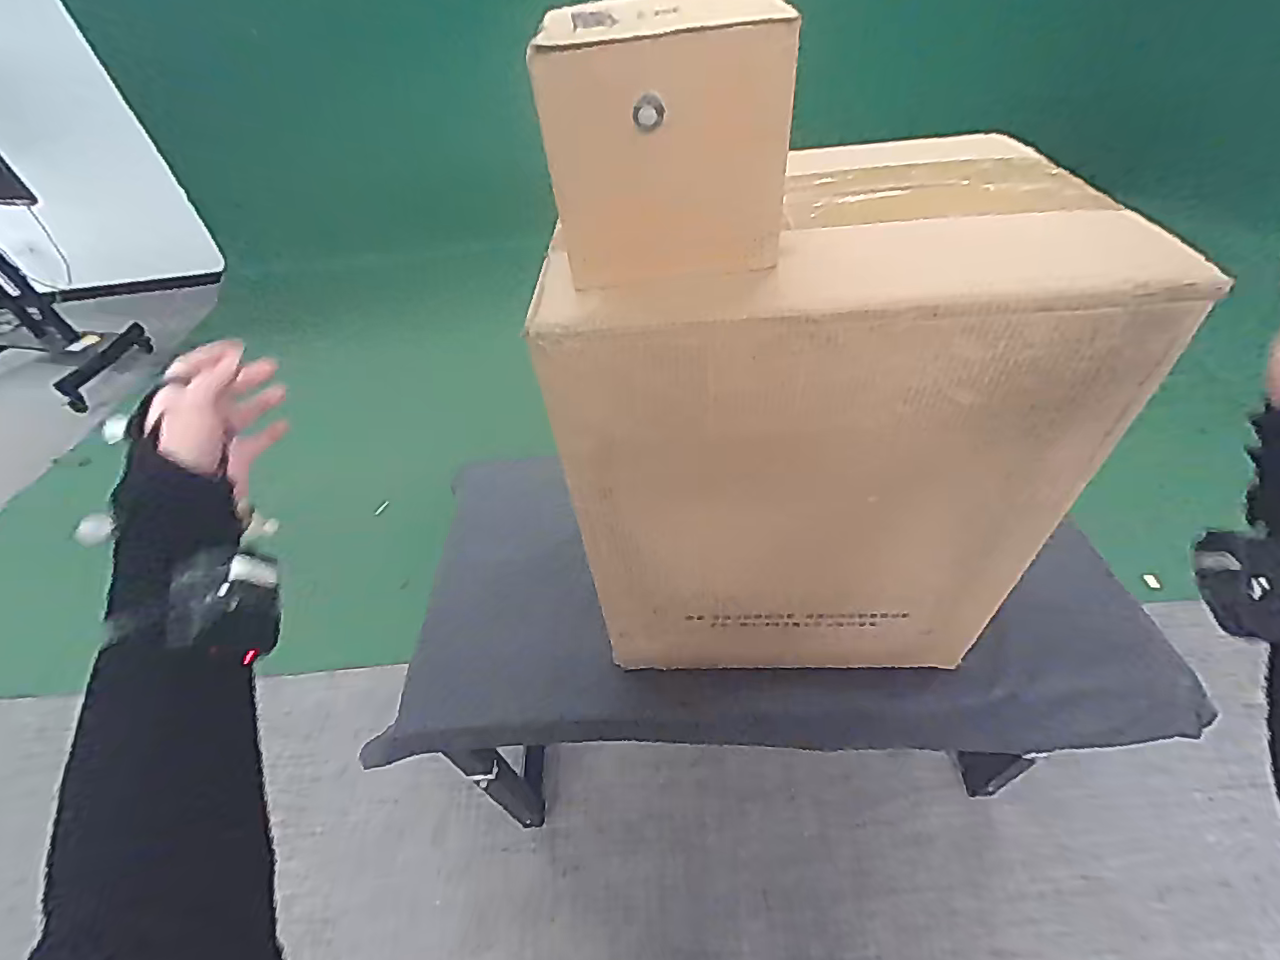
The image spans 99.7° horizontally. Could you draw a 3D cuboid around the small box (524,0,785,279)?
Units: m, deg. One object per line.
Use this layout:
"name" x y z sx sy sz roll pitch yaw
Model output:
"small box" 0.021 -0.289 0.461 0.179 0.176 0.168 -2 50 6
